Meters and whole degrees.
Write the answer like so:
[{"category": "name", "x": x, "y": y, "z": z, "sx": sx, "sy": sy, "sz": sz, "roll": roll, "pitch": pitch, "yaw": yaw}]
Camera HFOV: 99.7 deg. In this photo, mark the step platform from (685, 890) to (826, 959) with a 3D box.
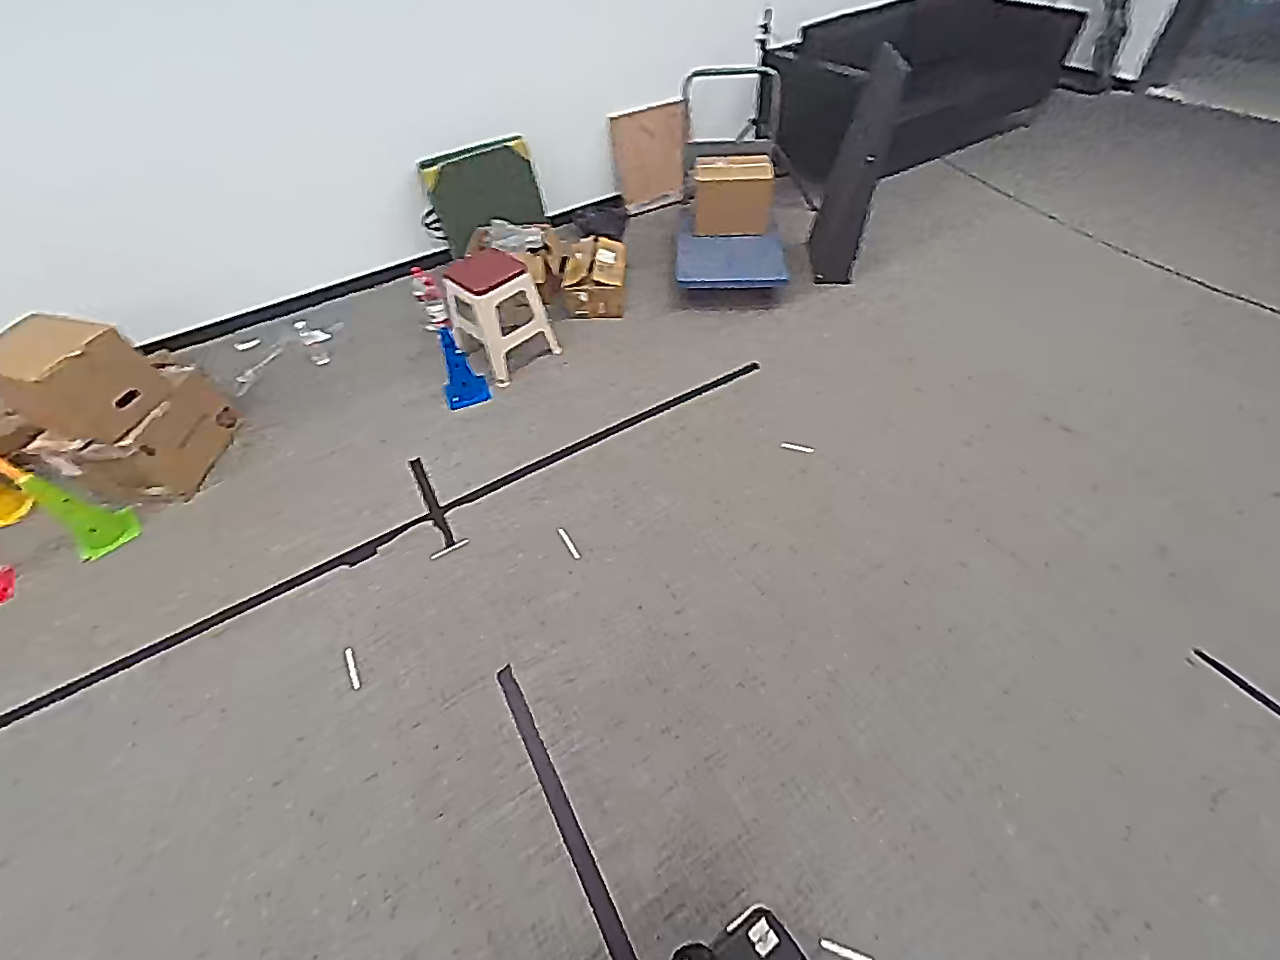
[{"category": "step platform", "x": 0.096, "y": 1.166, "z": 1.066, "sx": 0.684, "sy": 0.204, "sz": 0.286, "roll": -27, "pitch": 53, "yaw": -19}]
